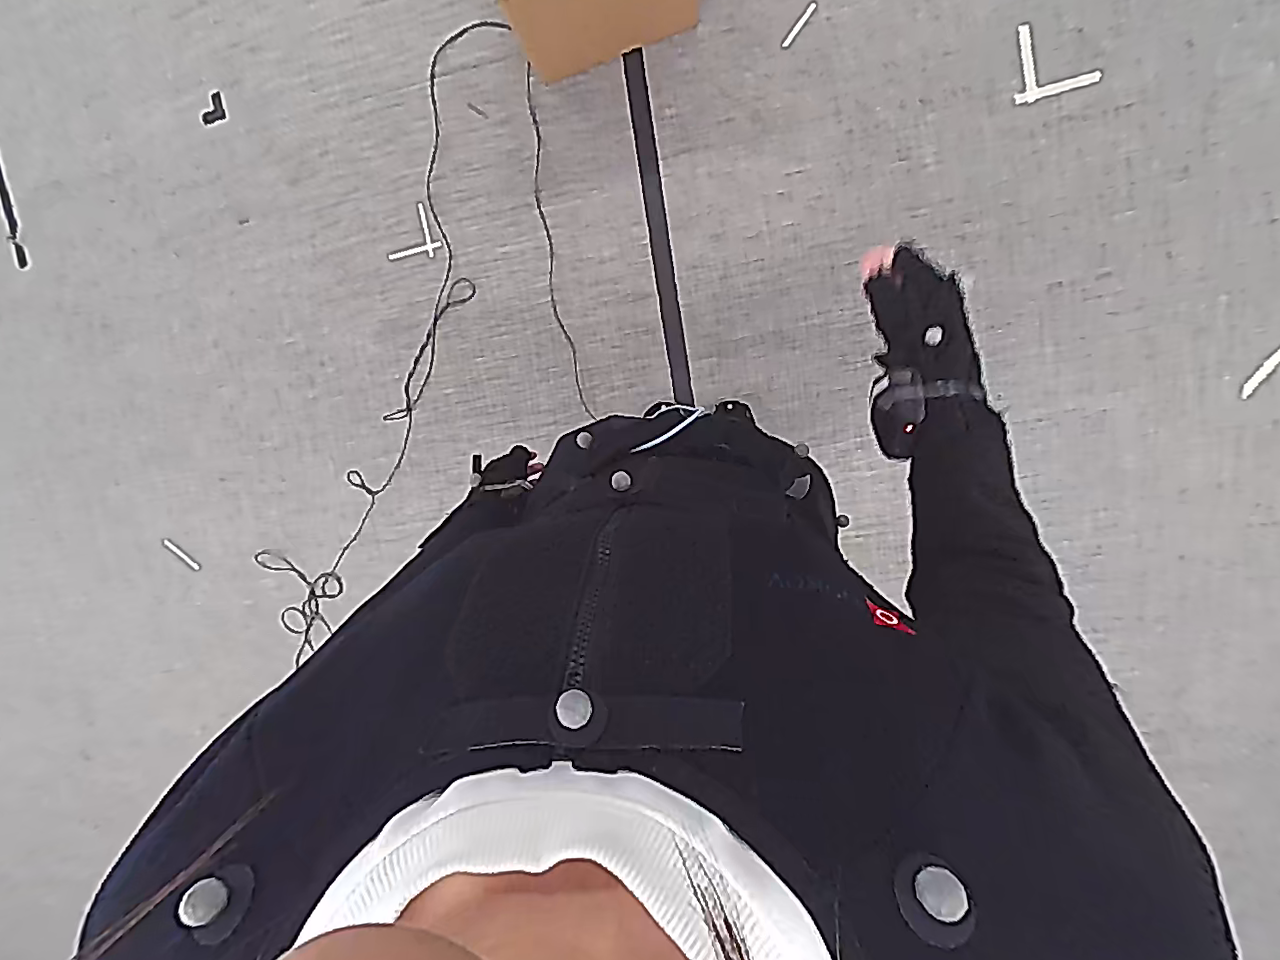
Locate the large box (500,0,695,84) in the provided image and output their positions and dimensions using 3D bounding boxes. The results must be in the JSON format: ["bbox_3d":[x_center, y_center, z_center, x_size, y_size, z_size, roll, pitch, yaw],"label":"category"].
[{"bbox_3d":[-0.115,-1.145,1.141,0.408,0.320,0.320,-15,98,8],"label":"large box"}]
